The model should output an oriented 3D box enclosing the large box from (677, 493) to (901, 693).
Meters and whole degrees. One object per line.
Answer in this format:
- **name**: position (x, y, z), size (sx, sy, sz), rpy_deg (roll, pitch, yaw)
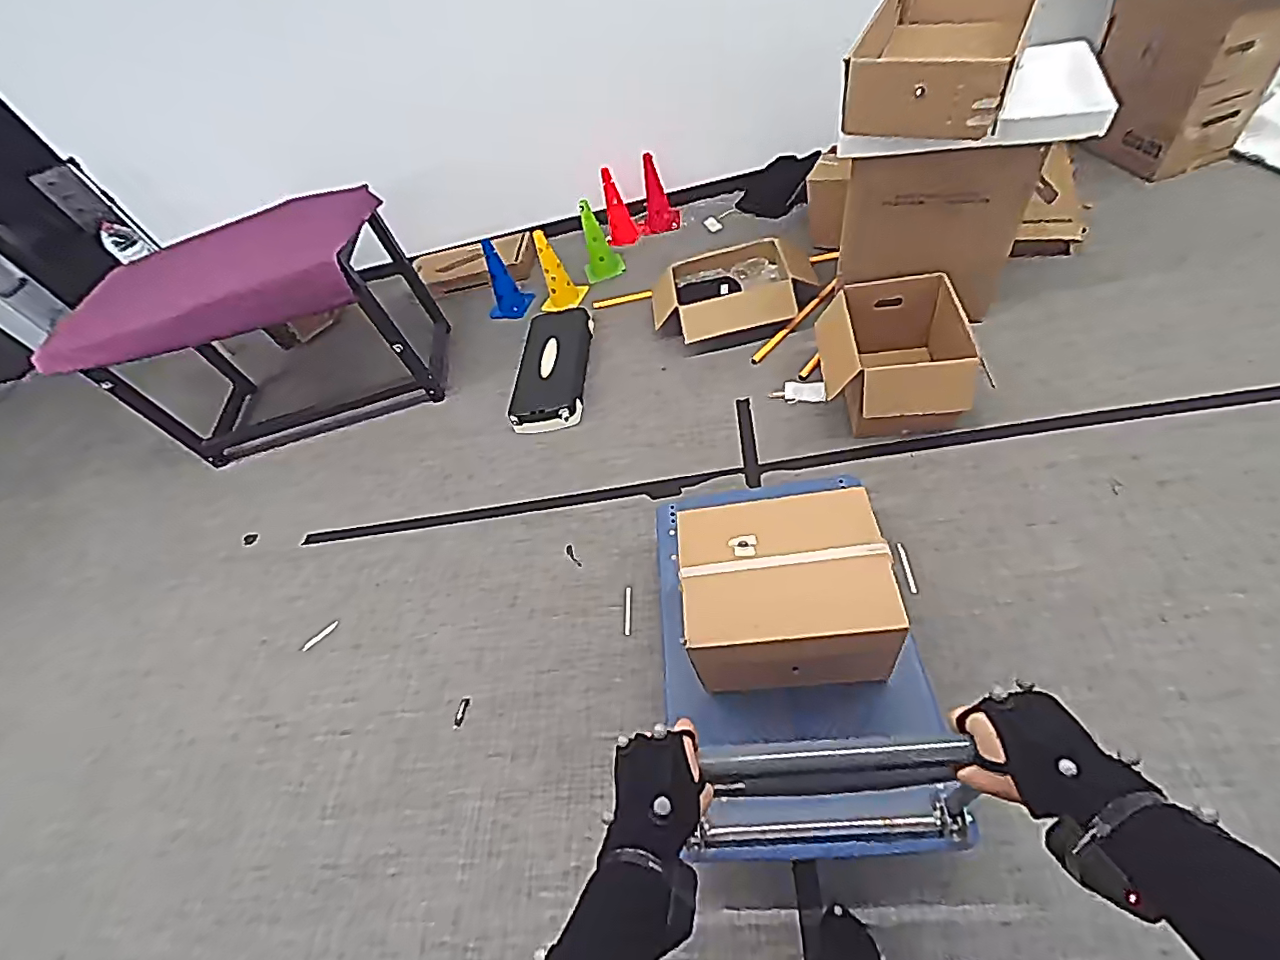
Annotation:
- **large box**: position (0.317, 0.267, 1.217), size (0.408, 0.320, 0.320), rpy_deg (-10, 51, 11)
